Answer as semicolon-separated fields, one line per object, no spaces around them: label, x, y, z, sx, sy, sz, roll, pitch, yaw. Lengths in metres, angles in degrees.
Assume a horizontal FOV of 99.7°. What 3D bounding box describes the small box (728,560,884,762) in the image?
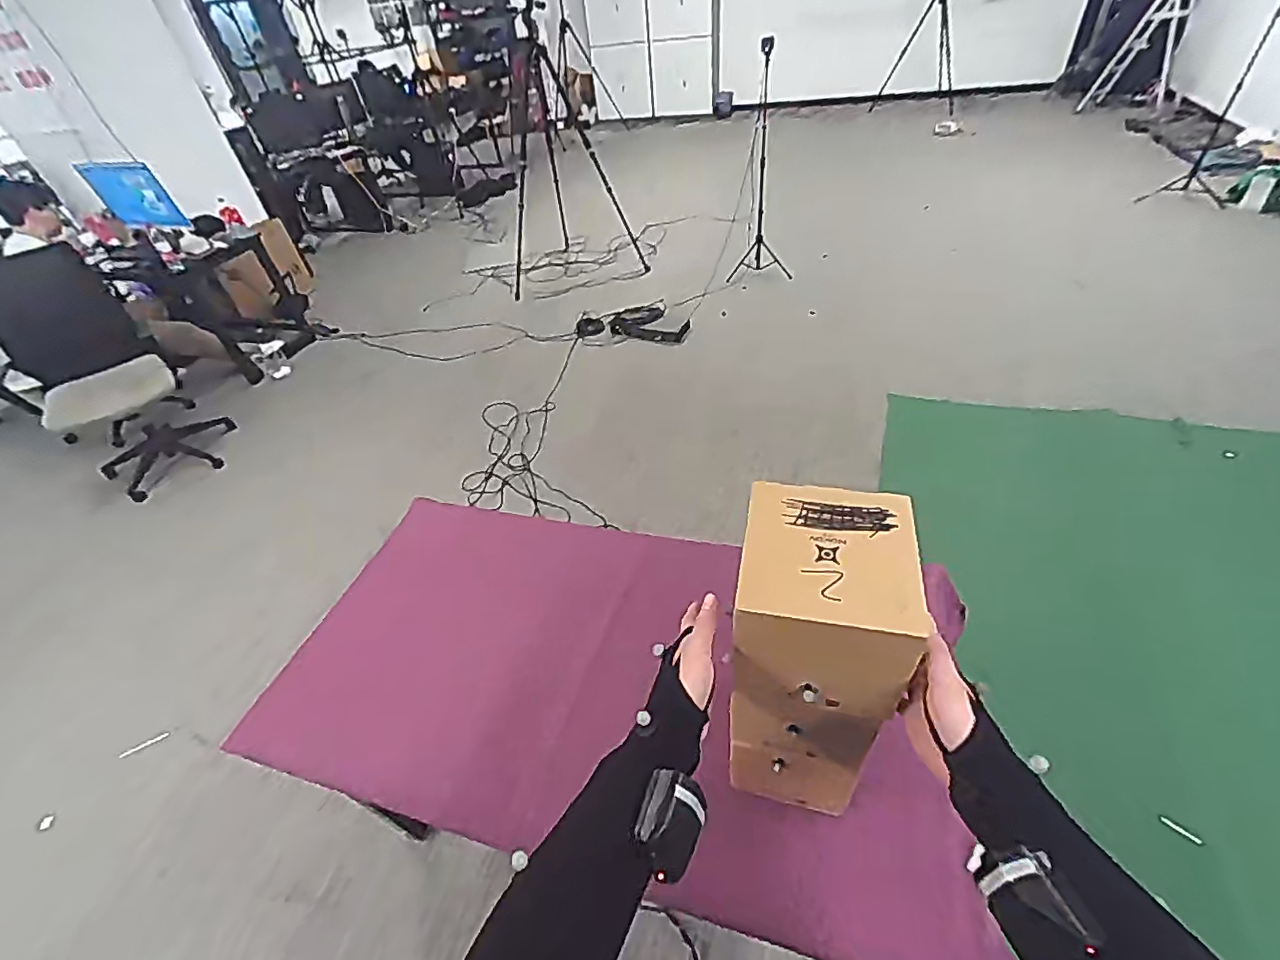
small box;0.213;0.234;0.700;0.168;0.176;0.179;8;45;17

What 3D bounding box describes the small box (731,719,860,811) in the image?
small box;0.230;0.356;0.809;0.168;0.176;0.179;6;44;16
